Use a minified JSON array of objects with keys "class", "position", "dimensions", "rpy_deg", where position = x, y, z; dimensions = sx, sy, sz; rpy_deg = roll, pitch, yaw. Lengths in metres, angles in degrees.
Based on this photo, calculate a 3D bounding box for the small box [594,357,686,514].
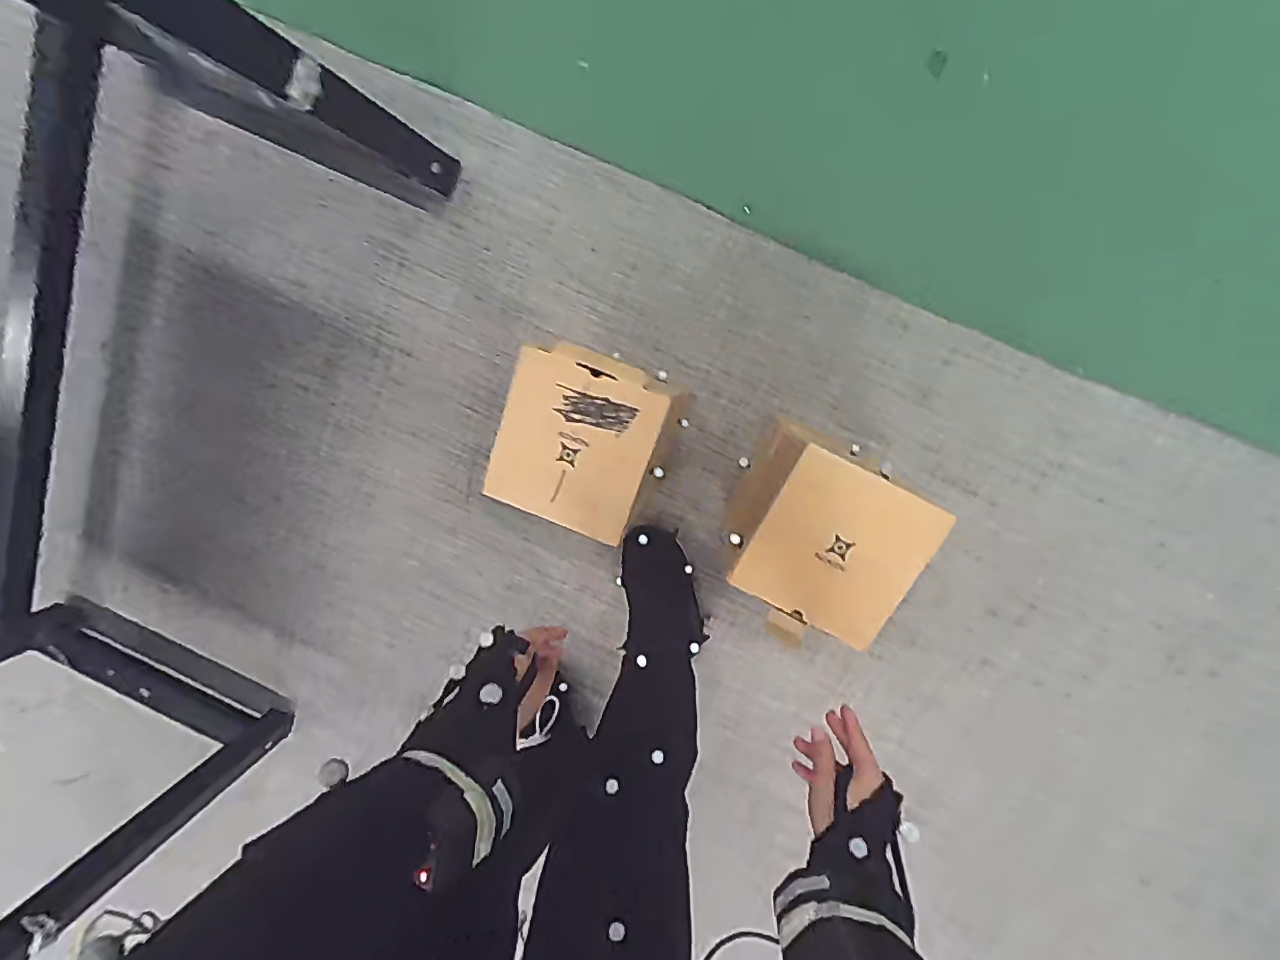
[{"class":"small box","position":[-0.036,-0.077,0.807],"dimensions":[0.168,0.176,0.179],"rpy_deg":[22,106,4]}]

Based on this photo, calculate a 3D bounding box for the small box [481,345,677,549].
[{"class":"small box","position":[-0.060,-0.049,0.646],"dimensions":[0.168,0.176,0.179],"rpy_deg":[21,105,4]}]

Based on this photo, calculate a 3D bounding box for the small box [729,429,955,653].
[{"class":"small box","position":[0.211,0.056,0.628],"dimensions":[0.168,0.176,0.179],"rpy_deg":[27,105,2]}]

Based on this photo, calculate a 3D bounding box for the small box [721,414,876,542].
[{"class":"small box","position":[0.232,0.021,0.786],"dimensions":[0.168,0.176,0.179],"rpy_deg":[26,106,2]}]
